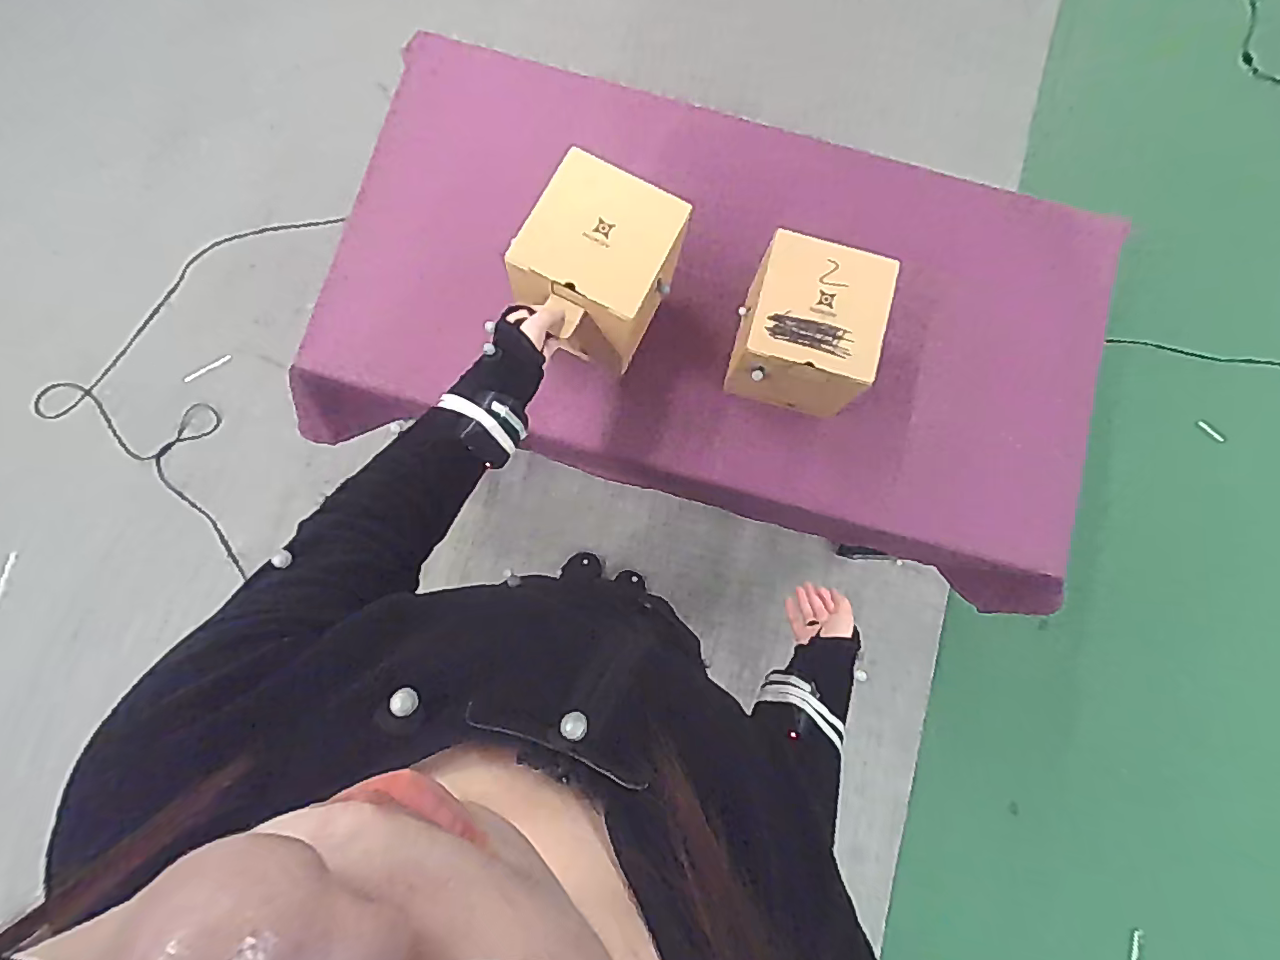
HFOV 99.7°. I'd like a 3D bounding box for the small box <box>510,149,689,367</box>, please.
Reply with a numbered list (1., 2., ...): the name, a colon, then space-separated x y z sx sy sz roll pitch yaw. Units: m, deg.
1. small box: -0.056 -0.286 0.731 0.168 0.176 0.179 26 78 -2
